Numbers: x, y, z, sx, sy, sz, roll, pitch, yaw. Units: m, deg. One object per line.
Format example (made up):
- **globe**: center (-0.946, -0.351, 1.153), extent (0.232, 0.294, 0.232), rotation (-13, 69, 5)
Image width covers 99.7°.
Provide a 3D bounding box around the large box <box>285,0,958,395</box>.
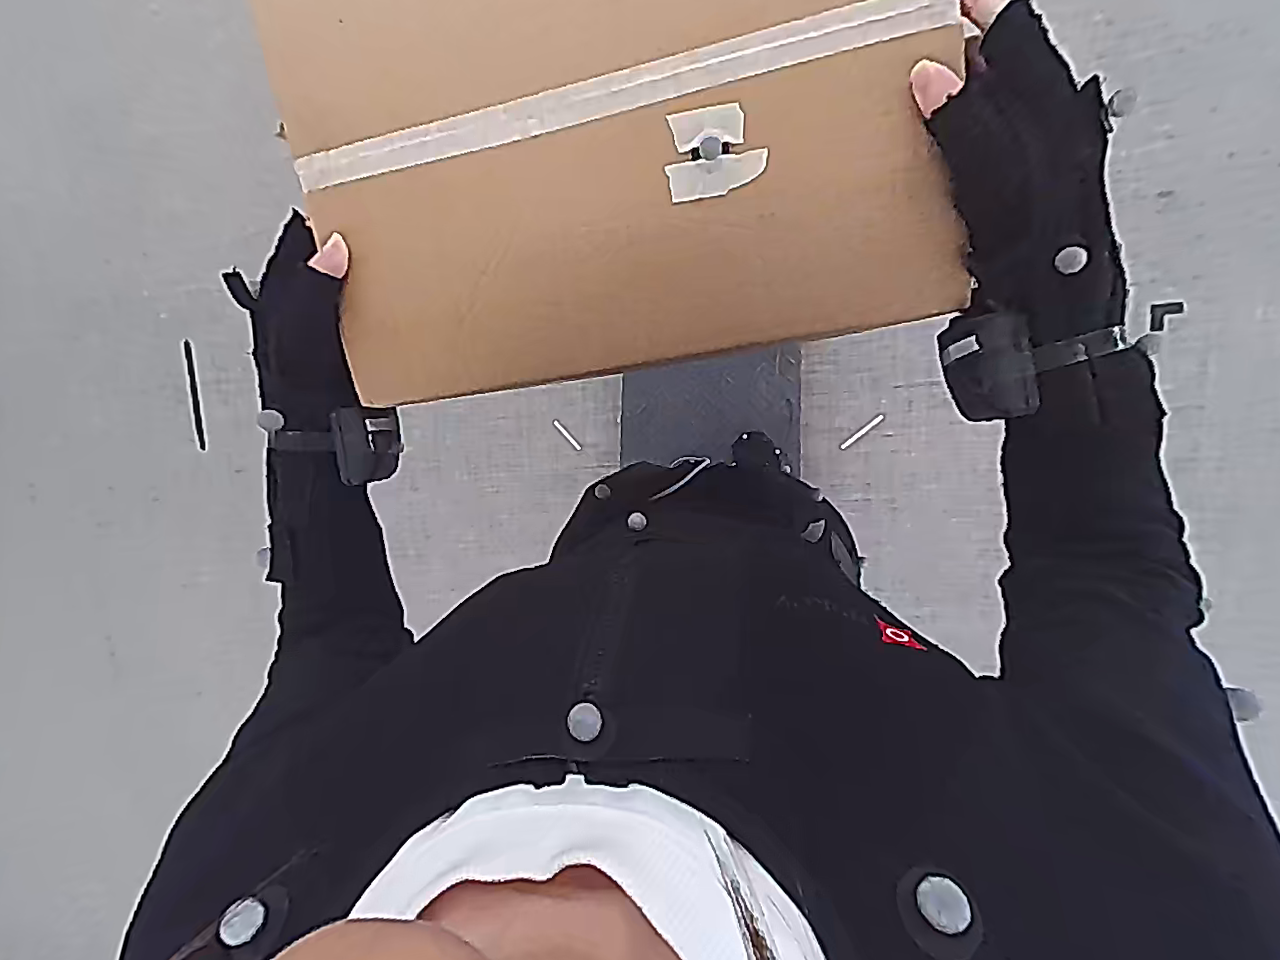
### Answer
- **large box**: center (-0.002, -0.268, 0.482), extent (0.408, 0.320, 0.320), rotation (-7, 102, 10)
